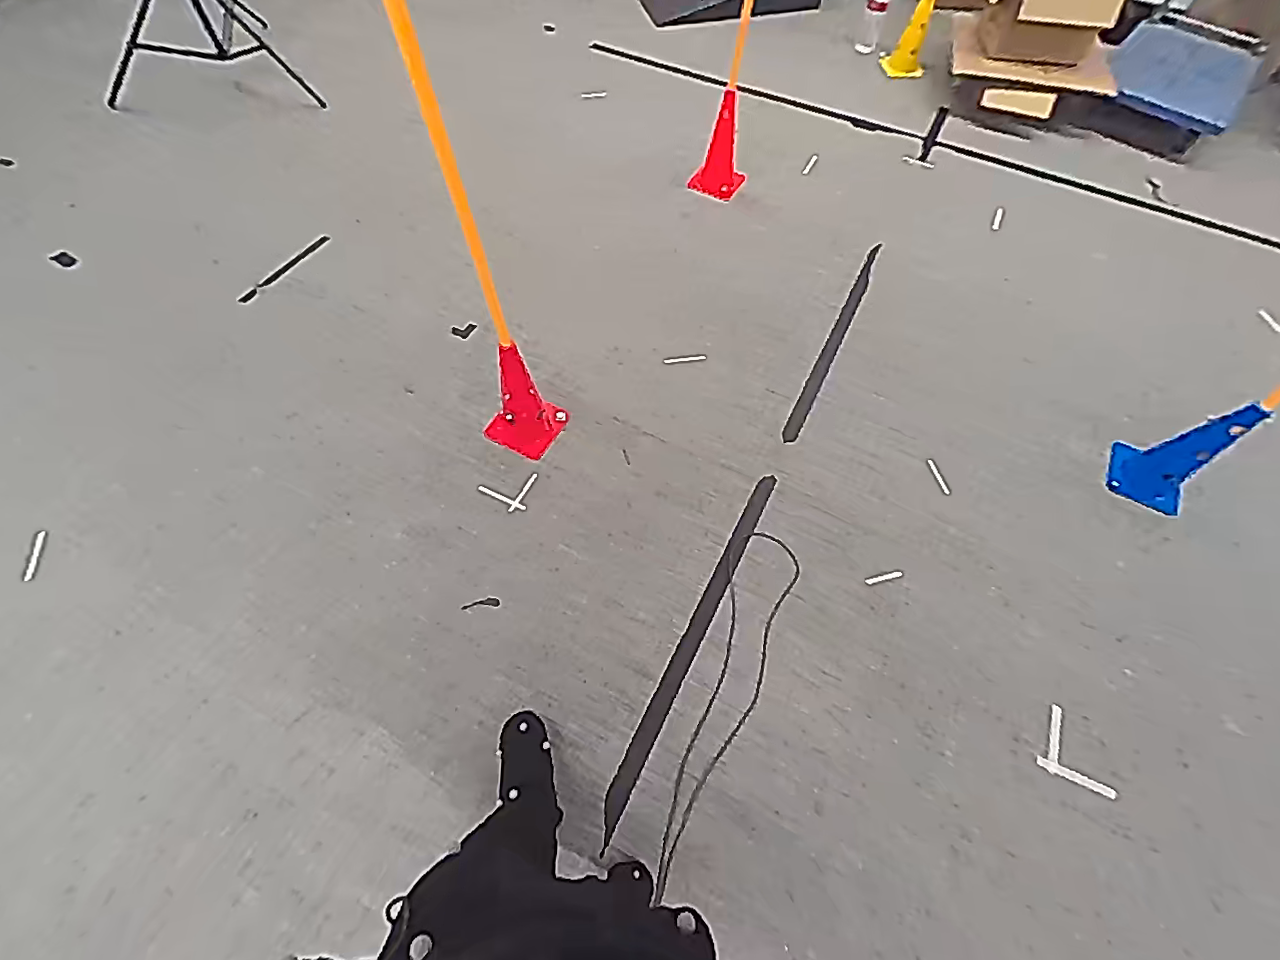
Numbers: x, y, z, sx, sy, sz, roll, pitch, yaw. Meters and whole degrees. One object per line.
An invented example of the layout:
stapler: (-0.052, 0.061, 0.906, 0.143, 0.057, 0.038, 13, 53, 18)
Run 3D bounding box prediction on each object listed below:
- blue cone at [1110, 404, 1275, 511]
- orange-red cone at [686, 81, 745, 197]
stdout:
blue cone: (1.529, -0.091, 1.485, 0.193, 0.380, 0.192, 28, 65, 13)
orange-red cone: (0.321, -1.343, 2.103, 0.198, 0.360, 0.199, 28, 63, 13)
